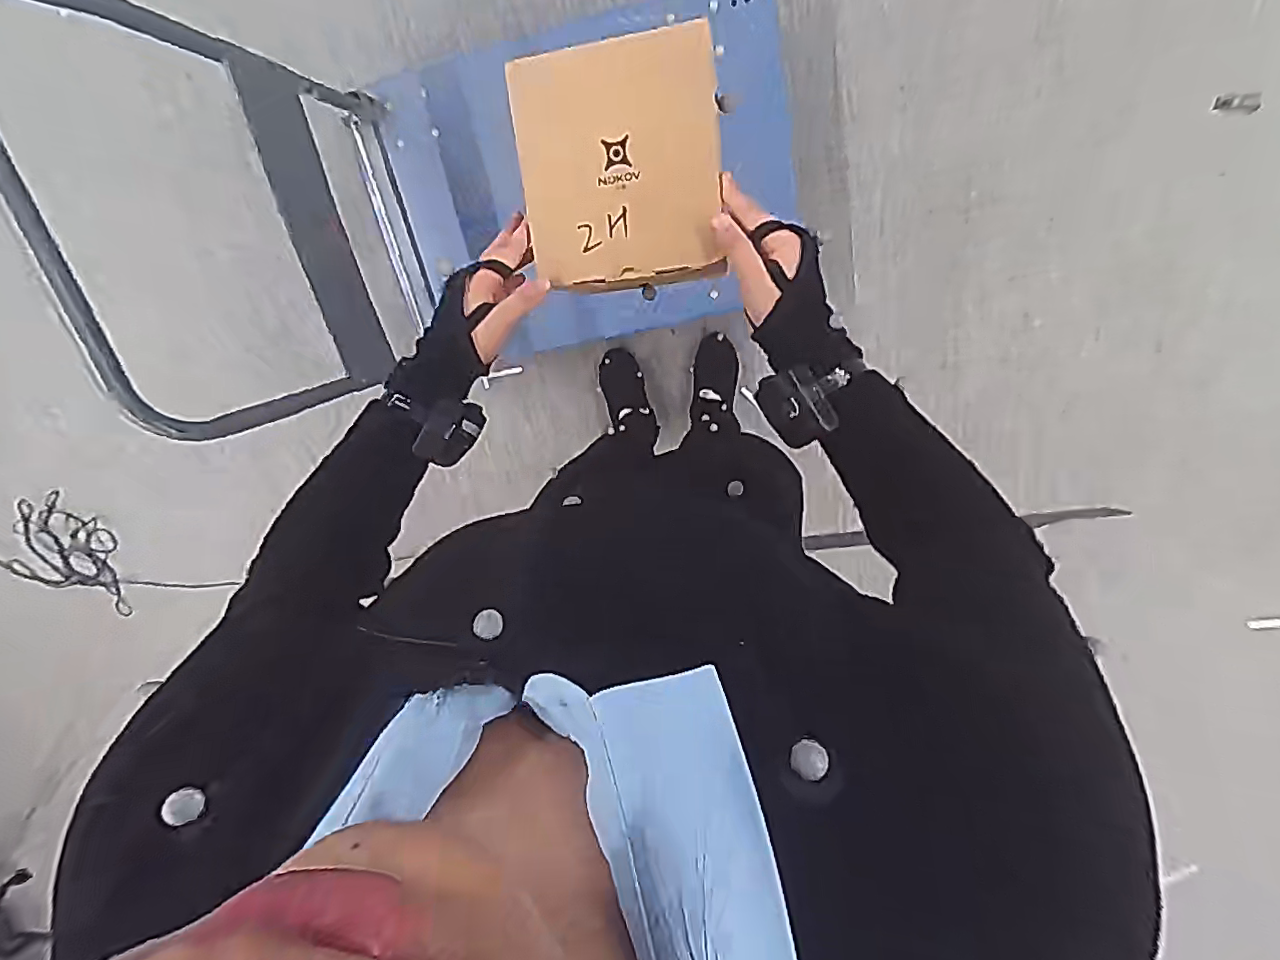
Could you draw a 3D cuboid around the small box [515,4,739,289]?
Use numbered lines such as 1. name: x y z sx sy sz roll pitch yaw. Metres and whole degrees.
1. small box: 0.002 -0.280 0.501 0.168 0.176 0.179 -3 107 11
